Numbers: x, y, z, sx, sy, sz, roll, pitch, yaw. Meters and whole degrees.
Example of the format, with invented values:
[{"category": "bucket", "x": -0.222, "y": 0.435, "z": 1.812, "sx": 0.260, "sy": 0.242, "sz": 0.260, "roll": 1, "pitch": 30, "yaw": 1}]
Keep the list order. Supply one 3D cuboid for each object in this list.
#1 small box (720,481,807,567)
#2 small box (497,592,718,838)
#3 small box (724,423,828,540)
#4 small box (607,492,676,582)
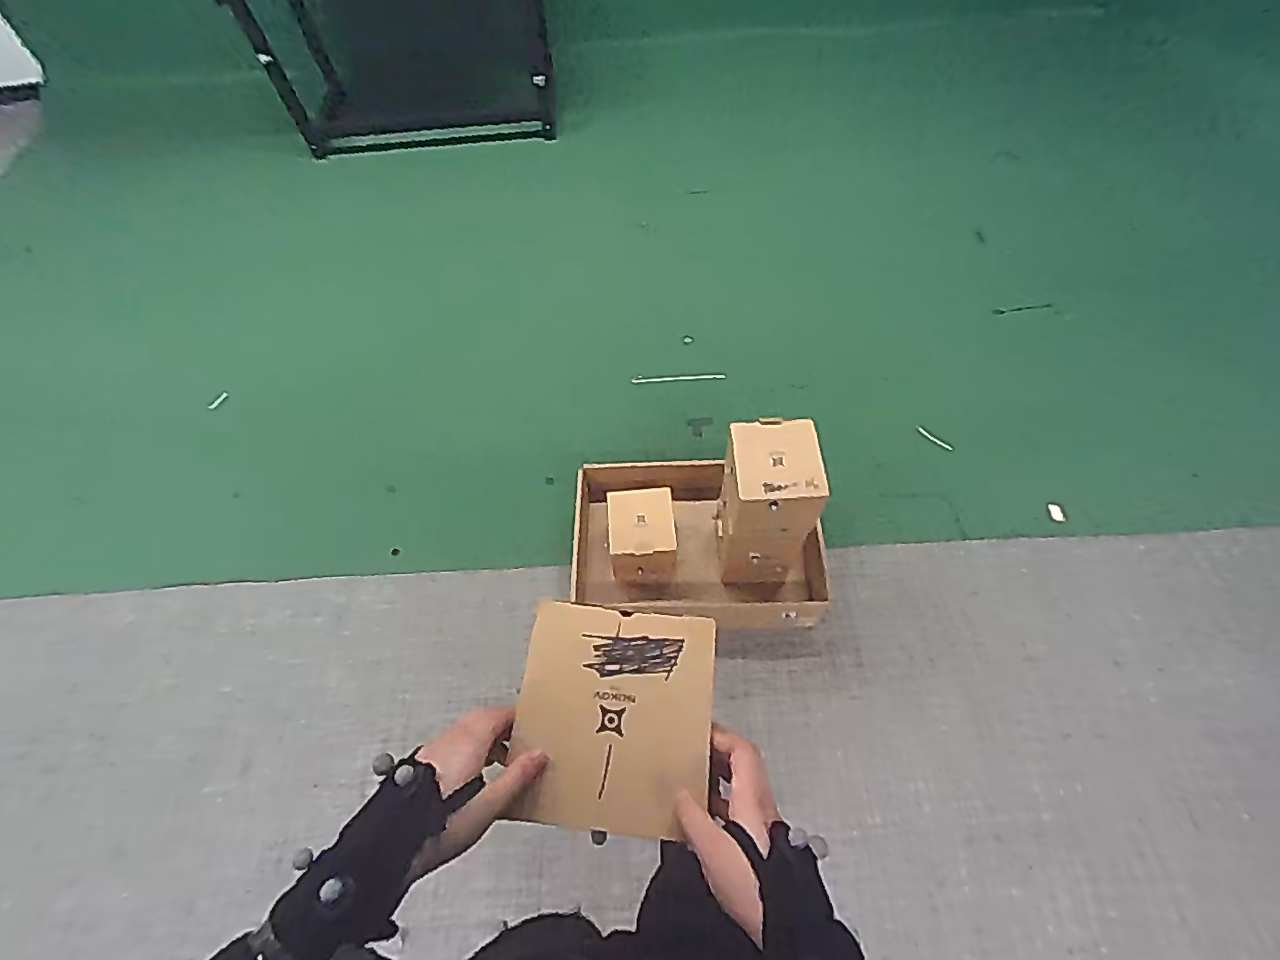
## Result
[{"category": "small box", "x": 0.273, "y": 0.087, "z": 1.236, "sx": 0.168, "sy": 0.176, "sz": 0.179, "roll": -1, "pitch": 61, "yaw": 4}, {"category": "small box", "x": -0.021, "y": 0.225, "z": 0.518, "sx": 0.168, "sy": 0.176, "sz": 0.179, "roll": 5, "pitch": 60, "yaw": 3}, {"category": "small box", "x": 0.263, "y": 0.006, "z": 1.094, "sx": 0.168, "sy": 0.176, "sz": 0.179, "roll": -3, "pitch": 59, "yaw": 3}, {"category": "small box", "x": 0.002, "y": 0.150, "z": 1.405, "sx": 0.168, "sy": 0.176, "sz": 0.179, "roll": -5, "pitch": 60, "yaw": -1}]
